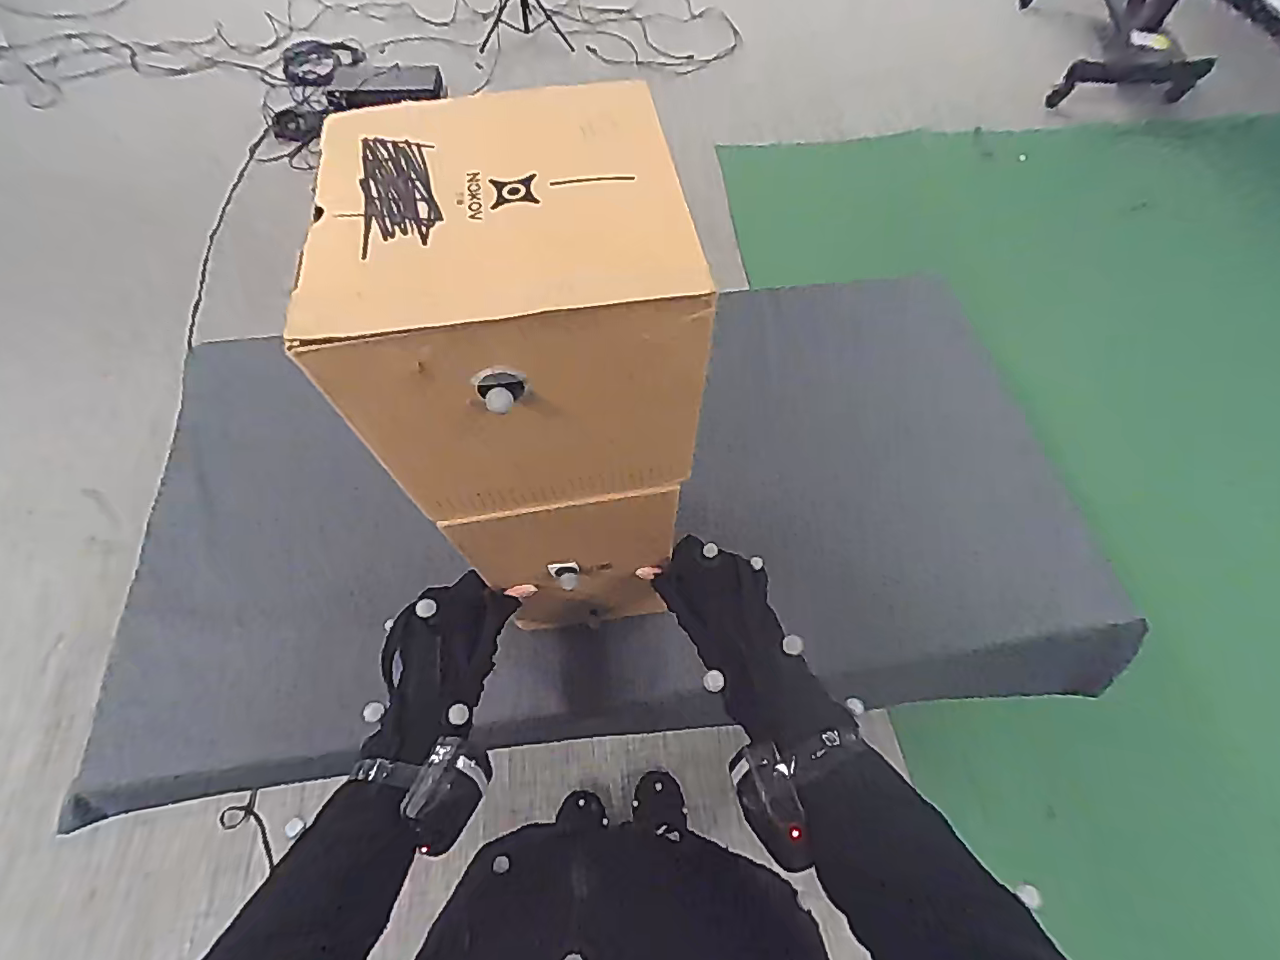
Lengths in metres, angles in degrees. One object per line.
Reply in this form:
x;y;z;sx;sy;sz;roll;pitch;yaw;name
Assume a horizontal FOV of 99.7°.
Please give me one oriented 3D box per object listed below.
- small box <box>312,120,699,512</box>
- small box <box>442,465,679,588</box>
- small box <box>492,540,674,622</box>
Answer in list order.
-0.068;-0.090;0.345;0.179;0.176;0.168;-9;63;-4;small box
-0.067;-0.022;0.477;0.168;0.176;0.179;-10;64;-4;small box
-0.067;0.055;0.620;0.179;0.176;0.168;-7;62;-5;small box
